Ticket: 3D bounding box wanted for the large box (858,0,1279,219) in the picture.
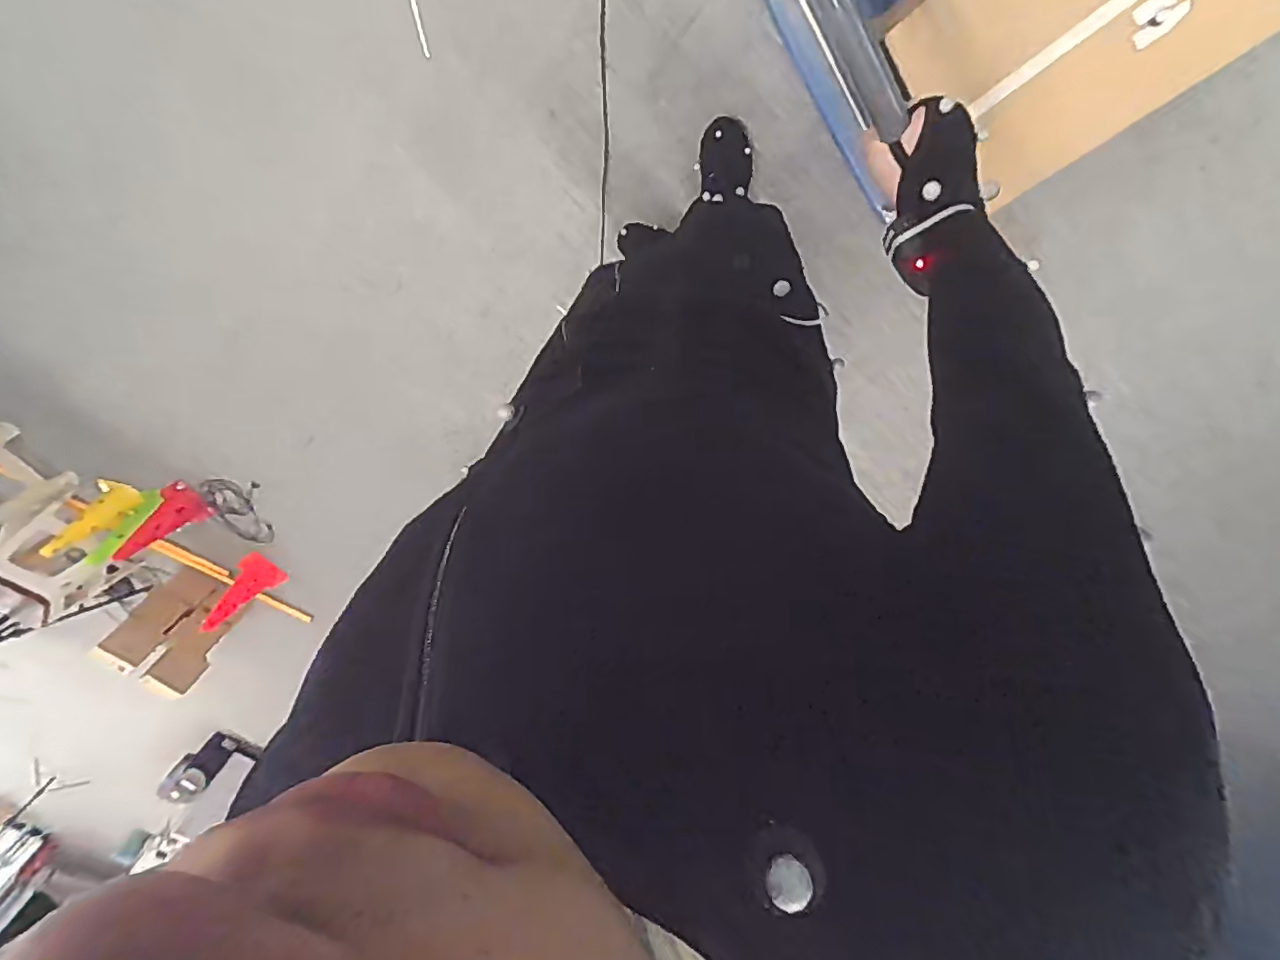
[{"bbox_3d":[0.618,-0.697,0.842,0.408,0.320,0.320,-30,117,29],"label":"large box"}]
